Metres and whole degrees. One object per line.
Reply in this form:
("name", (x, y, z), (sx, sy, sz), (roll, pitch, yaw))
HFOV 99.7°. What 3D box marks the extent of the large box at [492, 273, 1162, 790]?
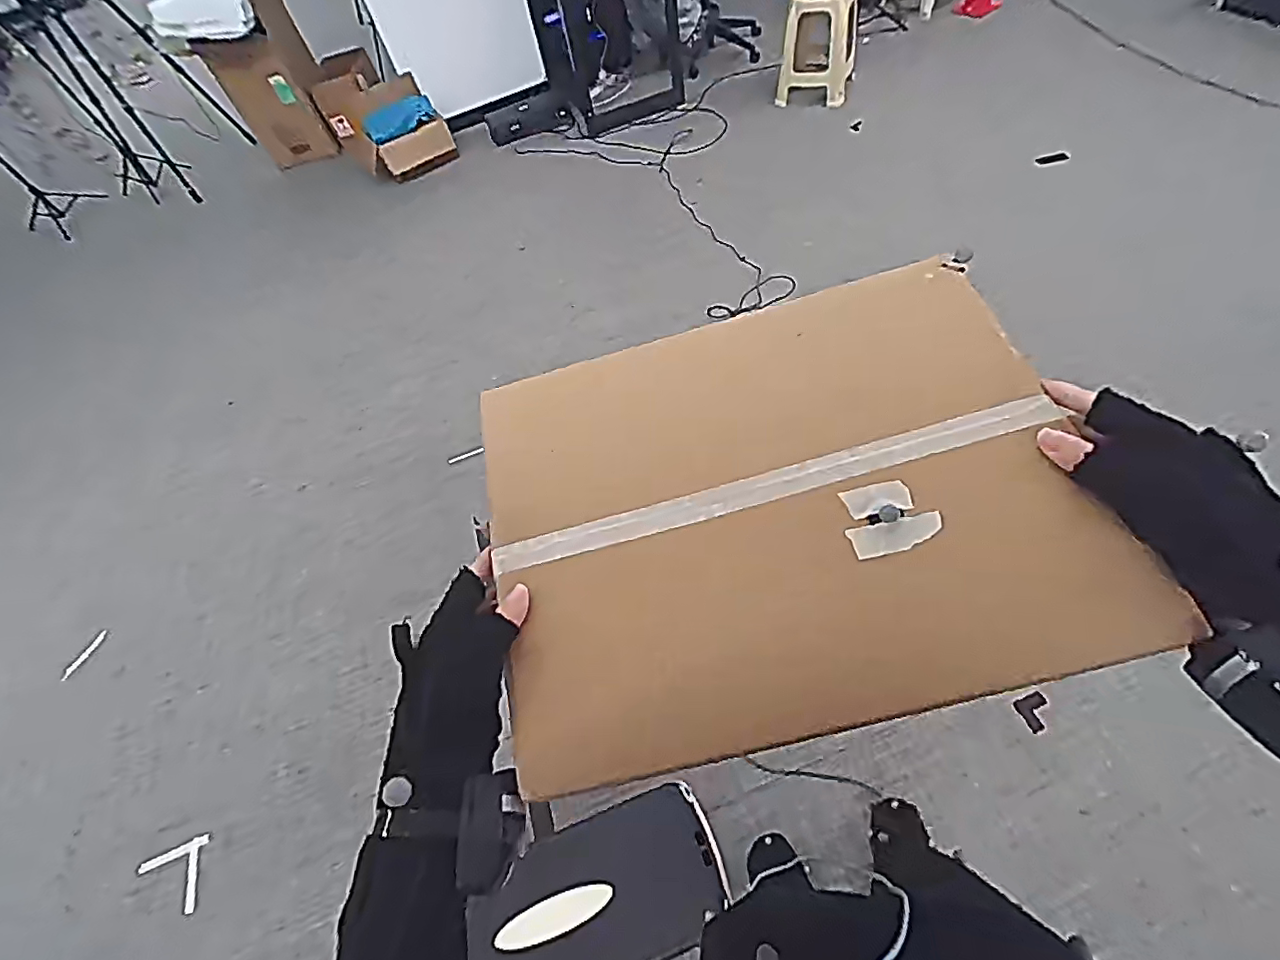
("large box", (0.116, 0.073, 0.531), (0.408, 0.320, 0.320), (-16, 64, 3))
